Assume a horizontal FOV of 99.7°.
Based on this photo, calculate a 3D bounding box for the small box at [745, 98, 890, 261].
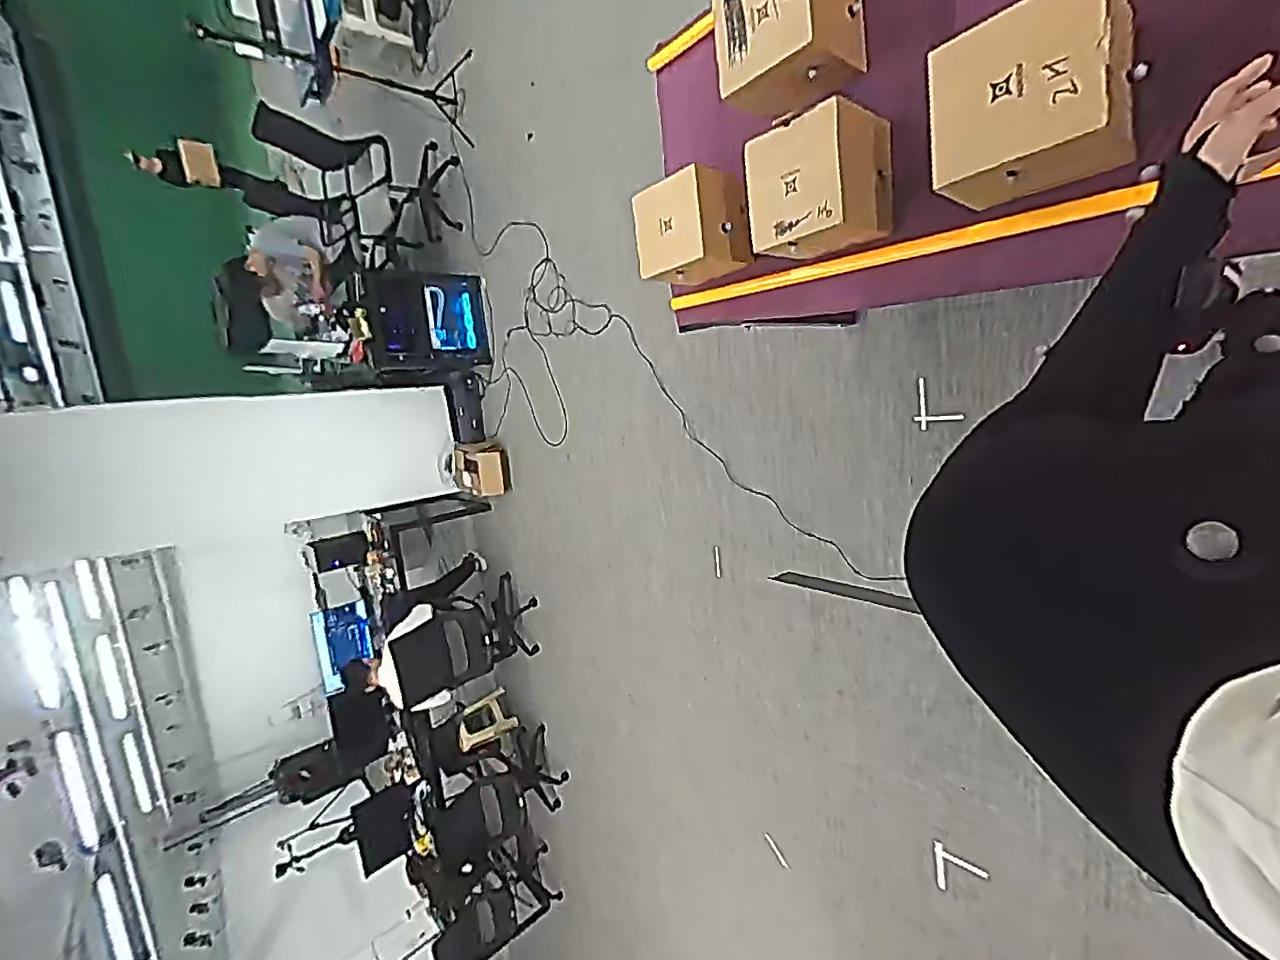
[{"bbox_3d":[0.293,-0.476,0.888,0.168,0.176,0.179,5,104,50],"label":"small box"}]

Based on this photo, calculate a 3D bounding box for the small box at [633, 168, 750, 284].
[{"bbox_3d":[0.110,-0.504,1.099,0.179,0.176,0.168,3,102,49],"label":"small box"}]

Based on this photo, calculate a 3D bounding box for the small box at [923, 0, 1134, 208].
[{"bbox_3d":[0.478,-0.458,0.669,0.179,0.176,0.168,3,101,50],"label":"small box"}]
